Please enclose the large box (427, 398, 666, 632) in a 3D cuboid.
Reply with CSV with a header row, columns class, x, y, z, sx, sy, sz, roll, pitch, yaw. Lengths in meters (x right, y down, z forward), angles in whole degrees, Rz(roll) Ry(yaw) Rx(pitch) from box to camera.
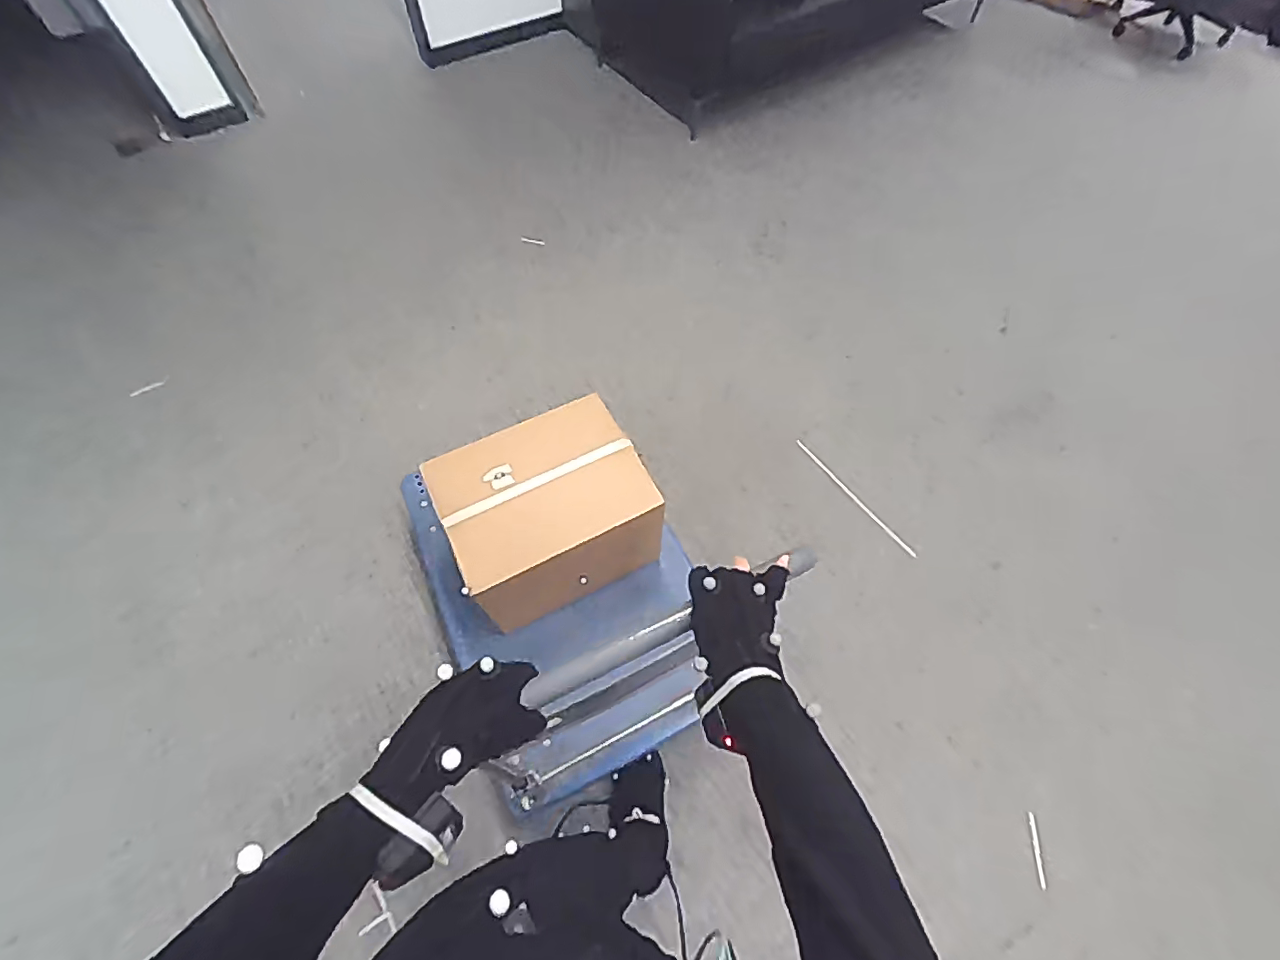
class,x,y,z,sx,sy,sz,roll,pitch,yaw
large box,-0.192,0.086,1.219,0.408,0.320,0.320,-26,64,-14
